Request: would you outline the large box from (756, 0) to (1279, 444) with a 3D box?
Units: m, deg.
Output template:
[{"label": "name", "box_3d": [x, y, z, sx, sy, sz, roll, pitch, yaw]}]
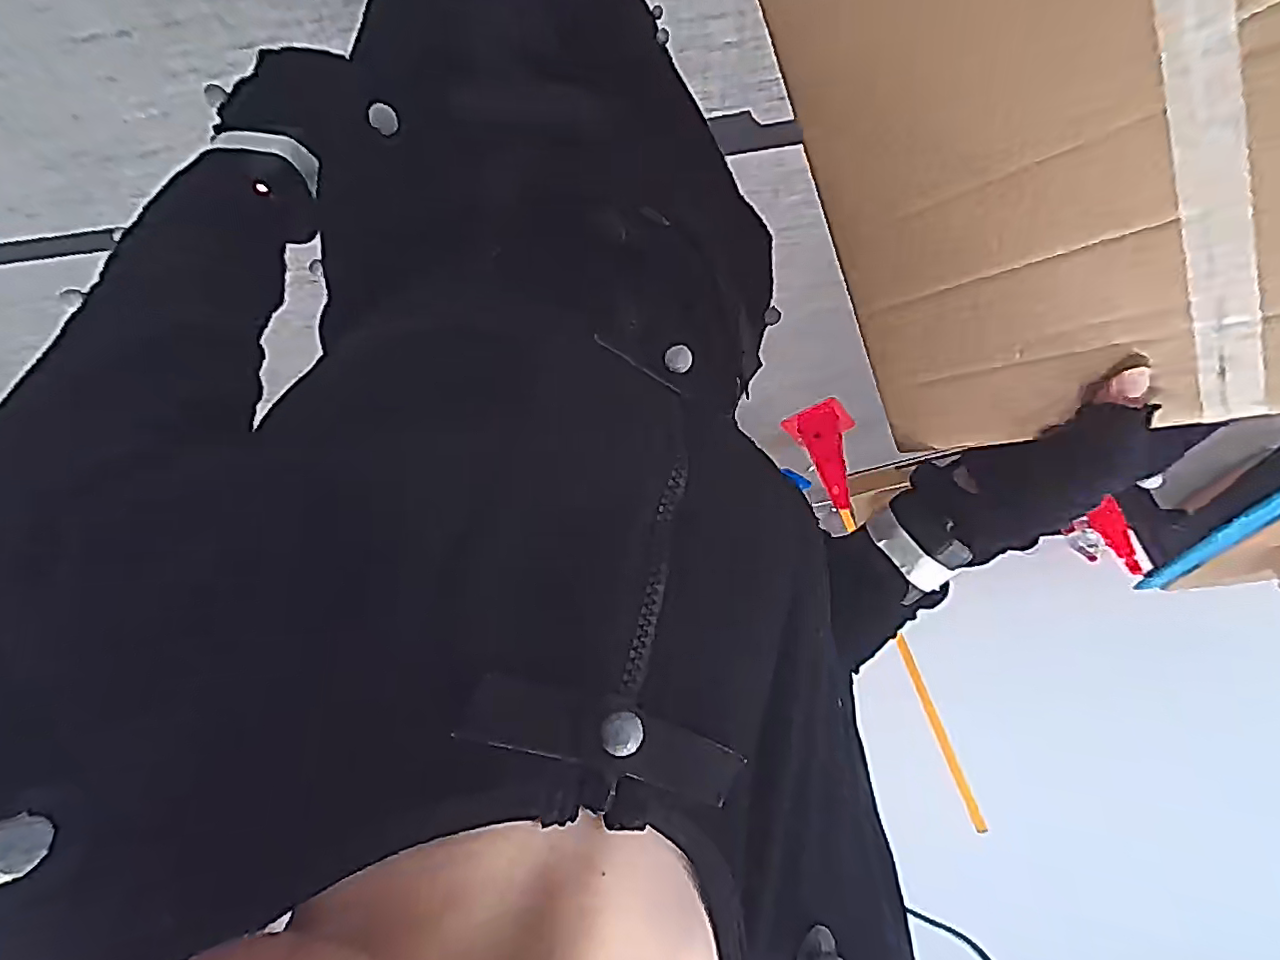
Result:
[{"label": "large box", "box_3d": [0.295, -0.282, 0.310, 0.320, 0.320, 0.408, -6, 116, 48]}]
